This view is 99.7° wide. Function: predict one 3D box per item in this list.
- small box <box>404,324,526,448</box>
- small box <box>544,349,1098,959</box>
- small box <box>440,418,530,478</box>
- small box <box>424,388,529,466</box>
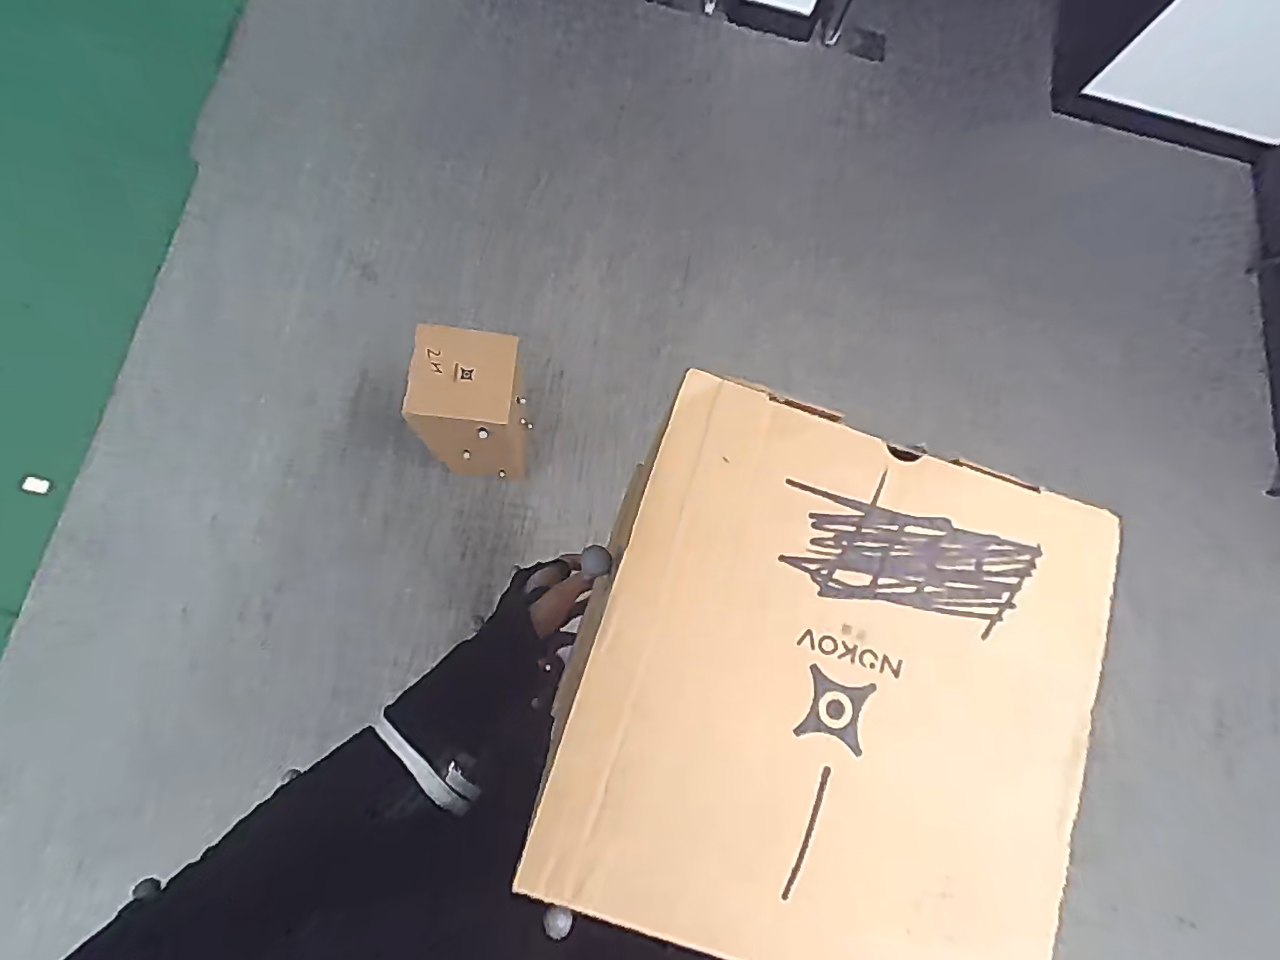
[{"bbox_3d":[-0.310,-0.163,0.998,0.179,0.176,0.168,6,76,-6],"label":"small box"},{"bbox_3d":[0.064,0.070,0.265,0.168,0.176,0.179,19,79,-1],"label":"small box"},{"bbox_3d":[-0.369,-0.104,1.318,0.179,0.176,0.168,6,77,-6],"label":"small box"},{"bbox_3d":[-0.340,-0.133,1.157,0.179,0.176,0.168,5,77,-6],"label":"small box"}]
